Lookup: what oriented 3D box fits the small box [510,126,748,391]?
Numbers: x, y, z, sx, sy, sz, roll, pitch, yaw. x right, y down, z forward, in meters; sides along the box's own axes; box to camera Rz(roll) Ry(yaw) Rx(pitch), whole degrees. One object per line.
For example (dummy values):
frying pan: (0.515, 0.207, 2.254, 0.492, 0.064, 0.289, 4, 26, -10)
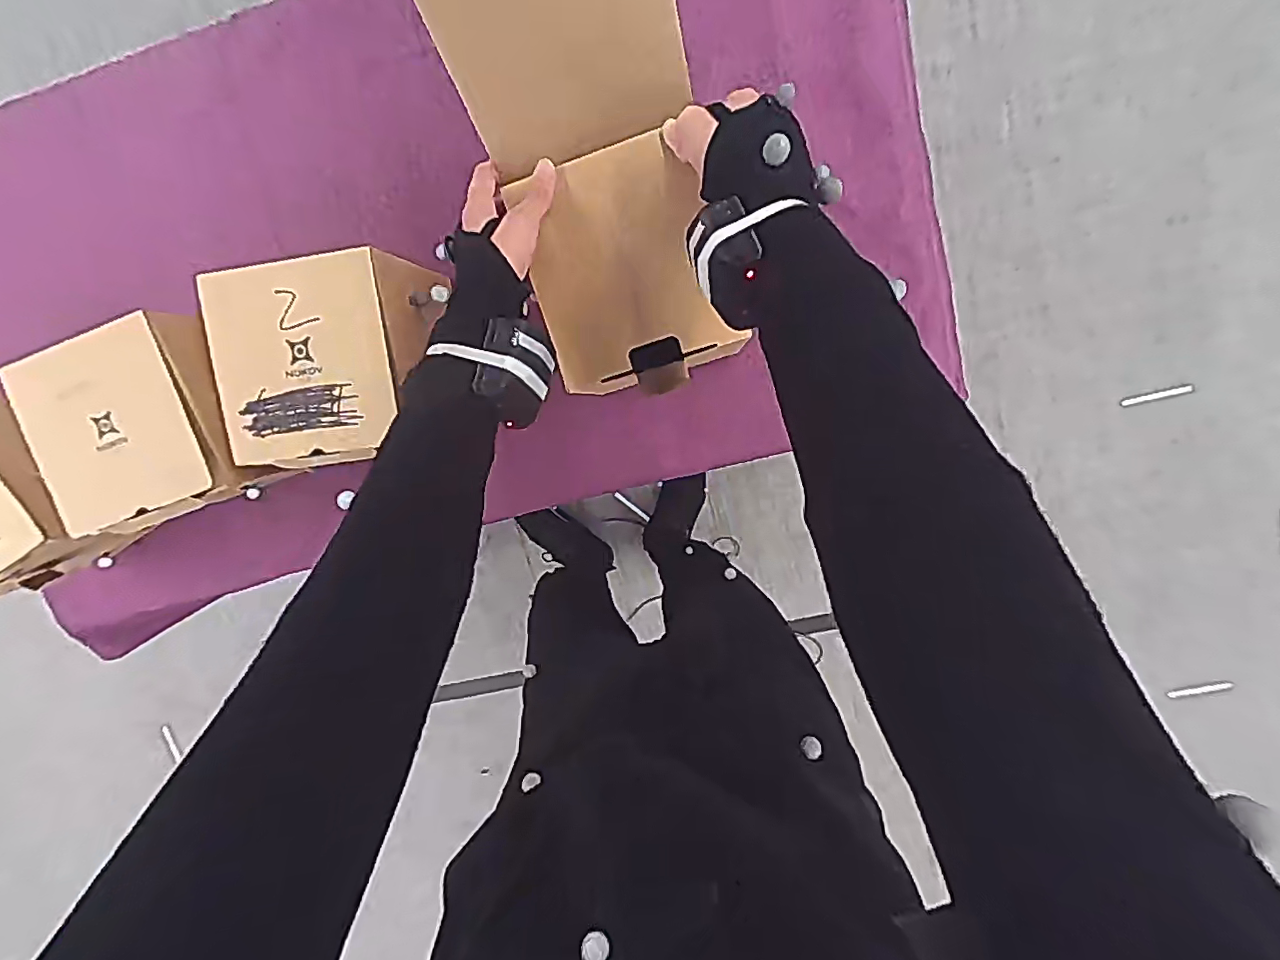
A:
small box: (-0.002, -0.191, 0.526, 0.168, 0.176, 0.179, -15, 97, 8)
